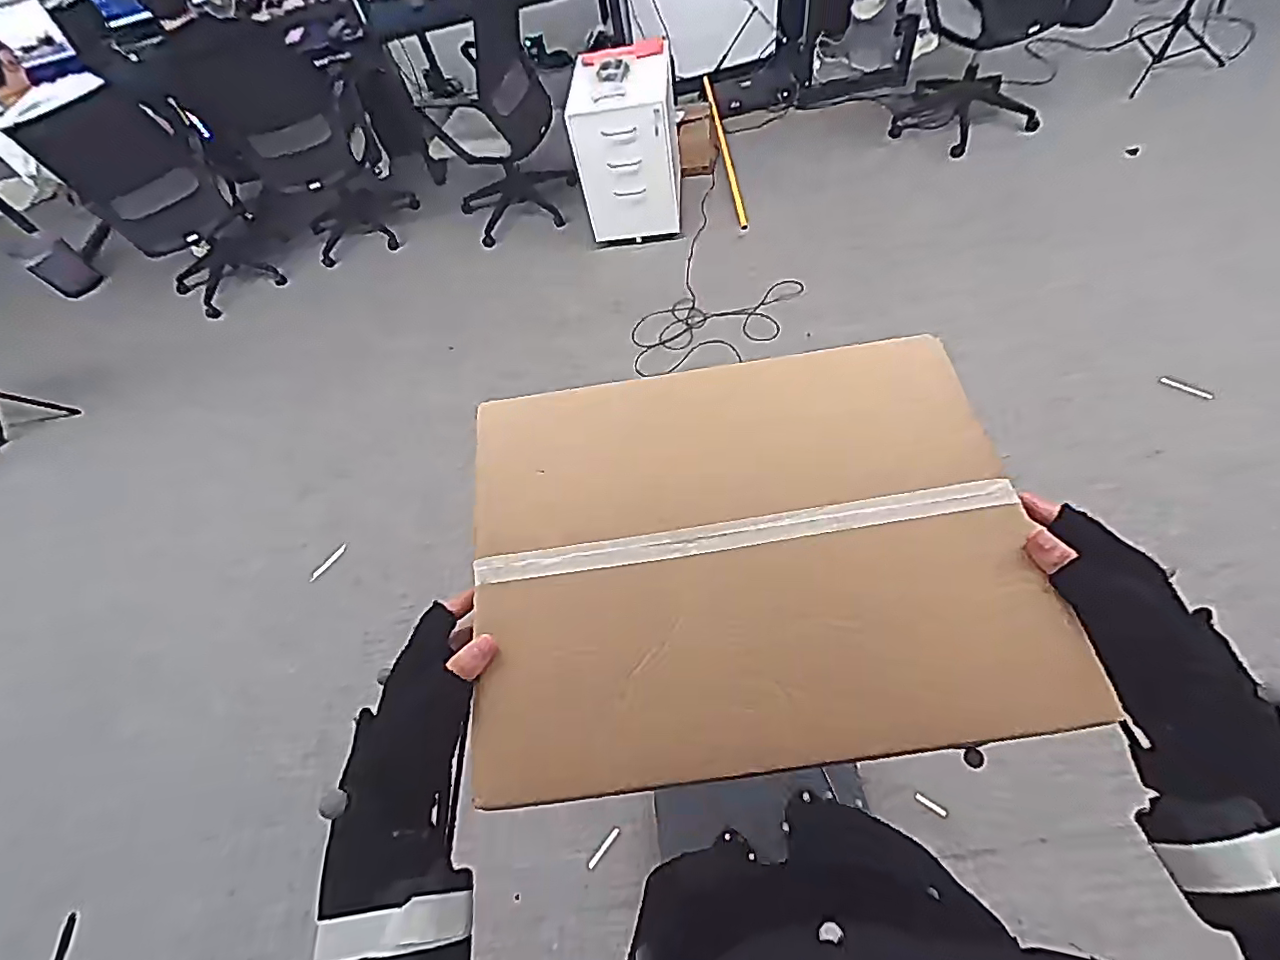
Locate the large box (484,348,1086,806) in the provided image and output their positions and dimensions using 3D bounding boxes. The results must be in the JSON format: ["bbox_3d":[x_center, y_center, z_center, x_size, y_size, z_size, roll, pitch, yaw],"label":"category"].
[{"bbox_3d":[0.089,0.111,0.549,0.408,0.320,0.320,-8,62,1],"label":"large box"}]
